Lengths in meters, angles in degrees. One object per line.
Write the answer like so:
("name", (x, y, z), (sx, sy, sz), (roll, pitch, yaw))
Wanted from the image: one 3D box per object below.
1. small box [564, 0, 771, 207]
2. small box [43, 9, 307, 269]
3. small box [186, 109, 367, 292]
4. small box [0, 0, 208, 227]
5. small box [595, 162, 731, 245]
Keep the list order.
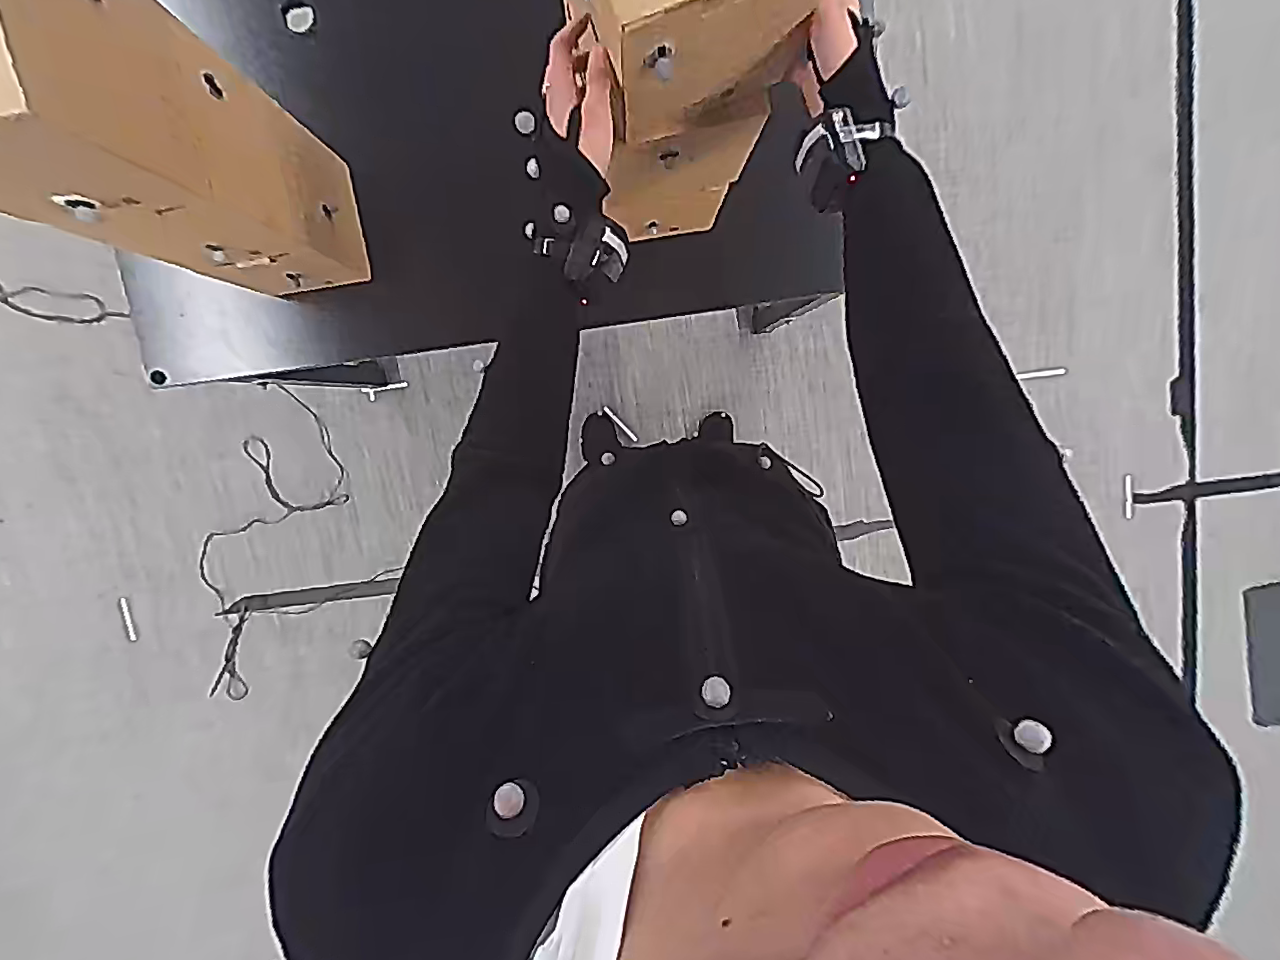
("small box", (0.026, -0.424, 0.593), (0.179, 0.176, 0.168), (-12, 98, 0))
("small box", (-0.505, -0.349, 0.588), (0.168, 0.176, 0.179), (-9, 98, 0))
("small box", (-0.509, -0.369, 0.752), (0.168, 0.176, 0.179), (-10, 98, 0))
("small box", (-0.500, -0.327, 0.427), (0.168, 0.176, 0.179), (-9, 98, 1))
("small box", (0.021, -0.452, 0.755), (0.168, 0.176, 0.179), (-9, 98, 0))
